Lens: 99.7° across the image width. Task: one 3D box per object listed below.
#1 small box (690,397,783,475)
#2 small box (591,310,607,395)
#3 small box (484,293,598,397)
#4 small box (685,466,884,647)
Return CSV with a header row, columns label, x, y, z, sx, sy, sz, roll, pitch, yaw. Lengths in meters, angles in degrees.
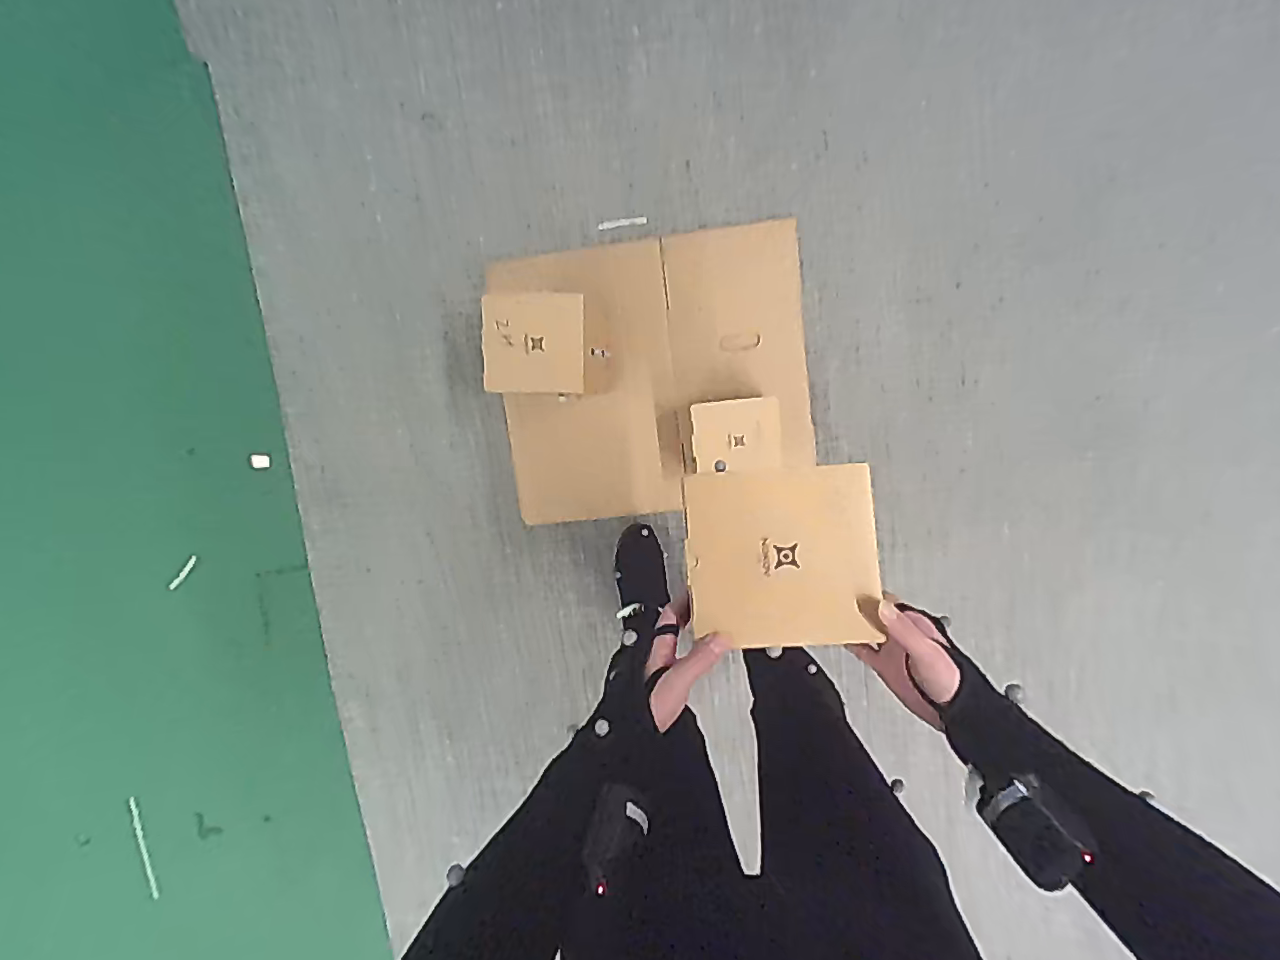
label,x,y,z,sx,sy,sz,roll,pitch,yaw
small box,0.198,-0.085,1.148,0.179,0.176,0.168,-5,98,5
small box,-0.164,-0.266,1.146,0.179,0.176,0.168,2,98,3
small box,-0.171,-0.238,0.982,0.179,0.176,0.168,2,97,4
small box,0.140,0.076,0.585,0.179,0.176,0.168,-4,85,6
